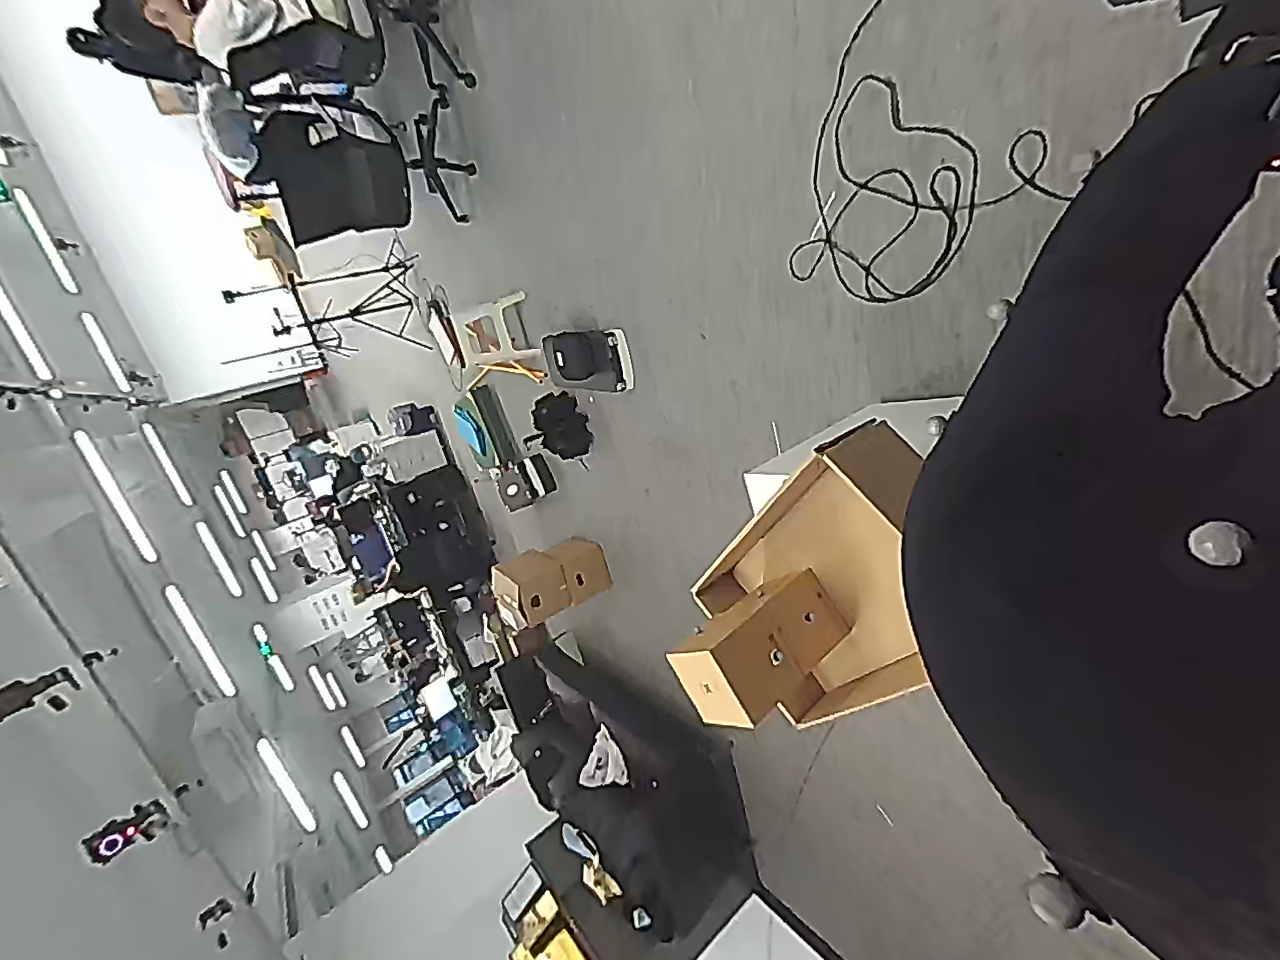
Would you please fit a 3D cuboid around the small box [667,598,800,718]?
[{"bbox_3d":[0.194,0.366,1.124,0.168,0.176,0.179,59,147,4],"label":"small box"}]
